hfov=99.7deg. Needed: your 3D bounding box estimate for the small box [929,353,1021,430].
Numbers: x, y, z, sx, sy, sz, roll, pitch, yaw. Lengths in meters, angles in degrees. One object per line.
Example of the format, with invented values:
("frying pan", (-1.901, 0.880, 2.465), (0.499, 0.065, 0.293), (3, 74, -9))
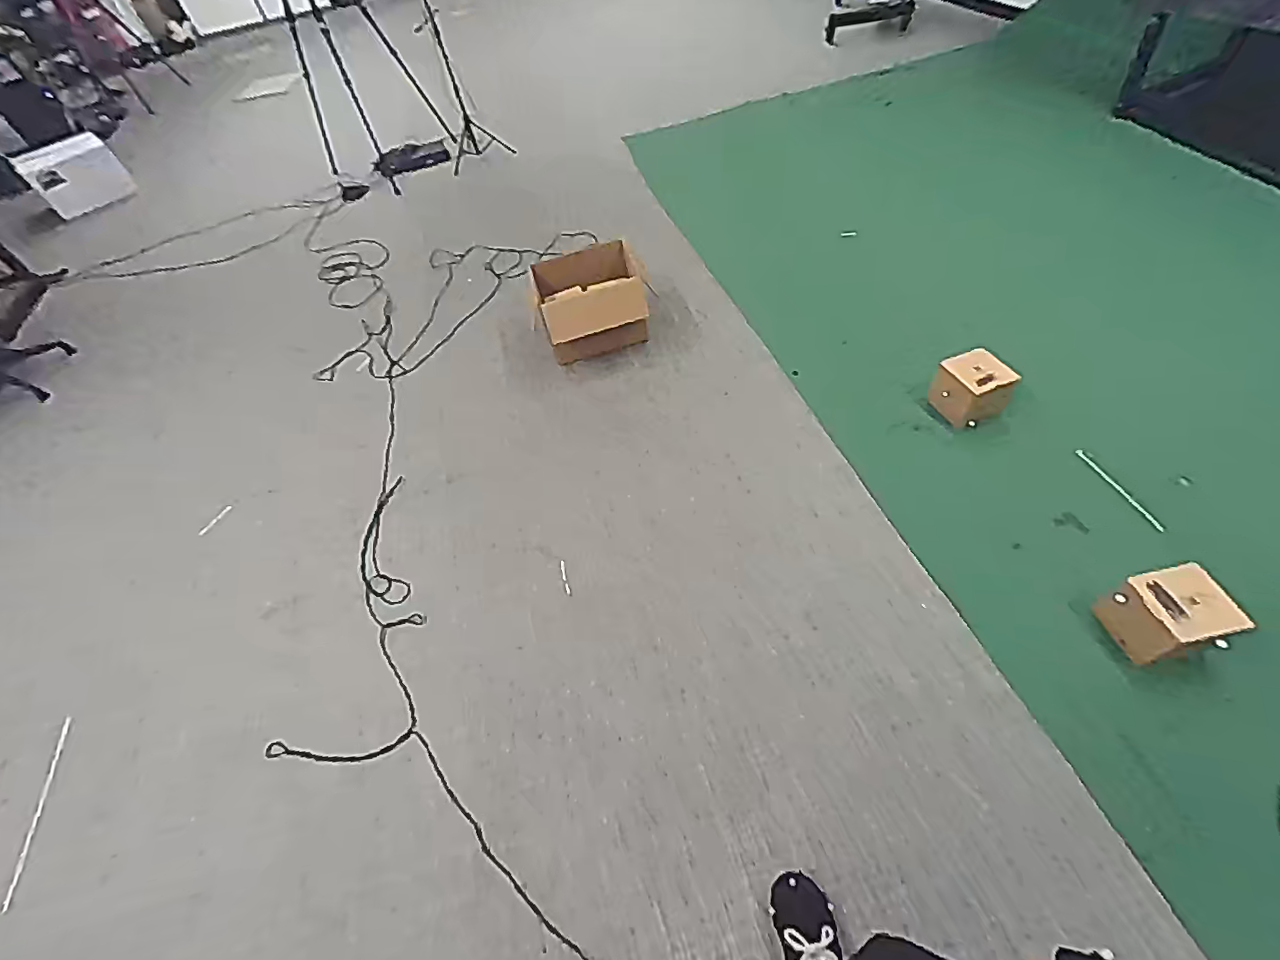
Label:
("small box", (1.105, -0.287, 1.799), (0.168, 0.176, 0.179), (-20, 51, -6))
